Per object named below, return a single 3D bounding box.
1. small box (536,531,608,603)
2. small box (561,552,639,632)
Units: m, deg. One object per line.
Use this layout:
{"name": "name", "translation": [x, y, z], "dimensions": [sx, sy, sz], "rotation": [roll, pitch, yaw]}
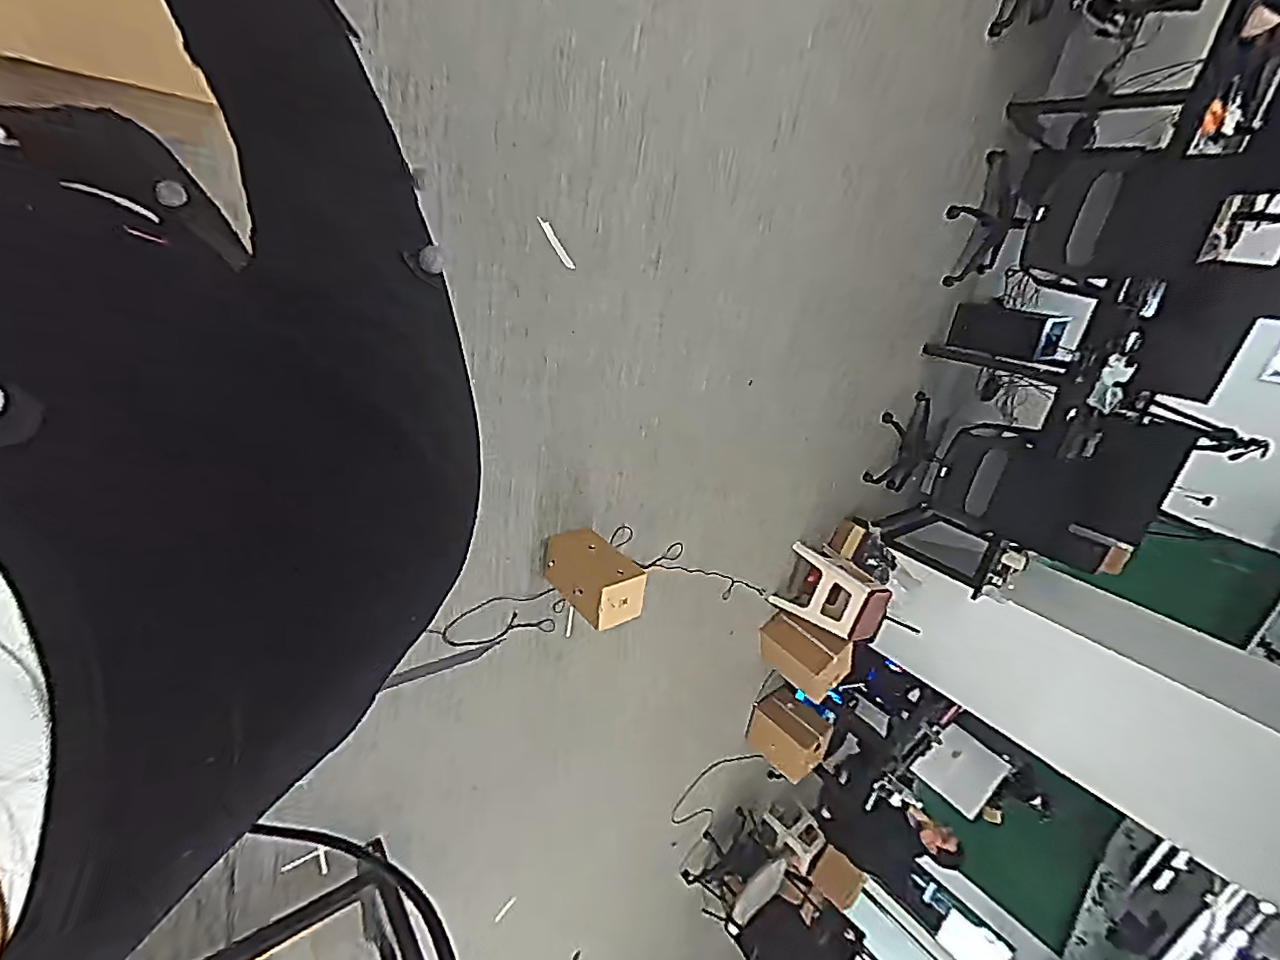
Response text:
{"name": "small box", "translation": [-0.235, 0.289, 1.855], "dimensions": [0.179, 0.176, 0.168], "rotation": [-9, 118, -39]}
{"name": "small box", "translation": [-0.131, 0.352, 1.743], "dimensions": [0.179, 0.176, 0.168], "rotation": [-11, 119, -38]}
